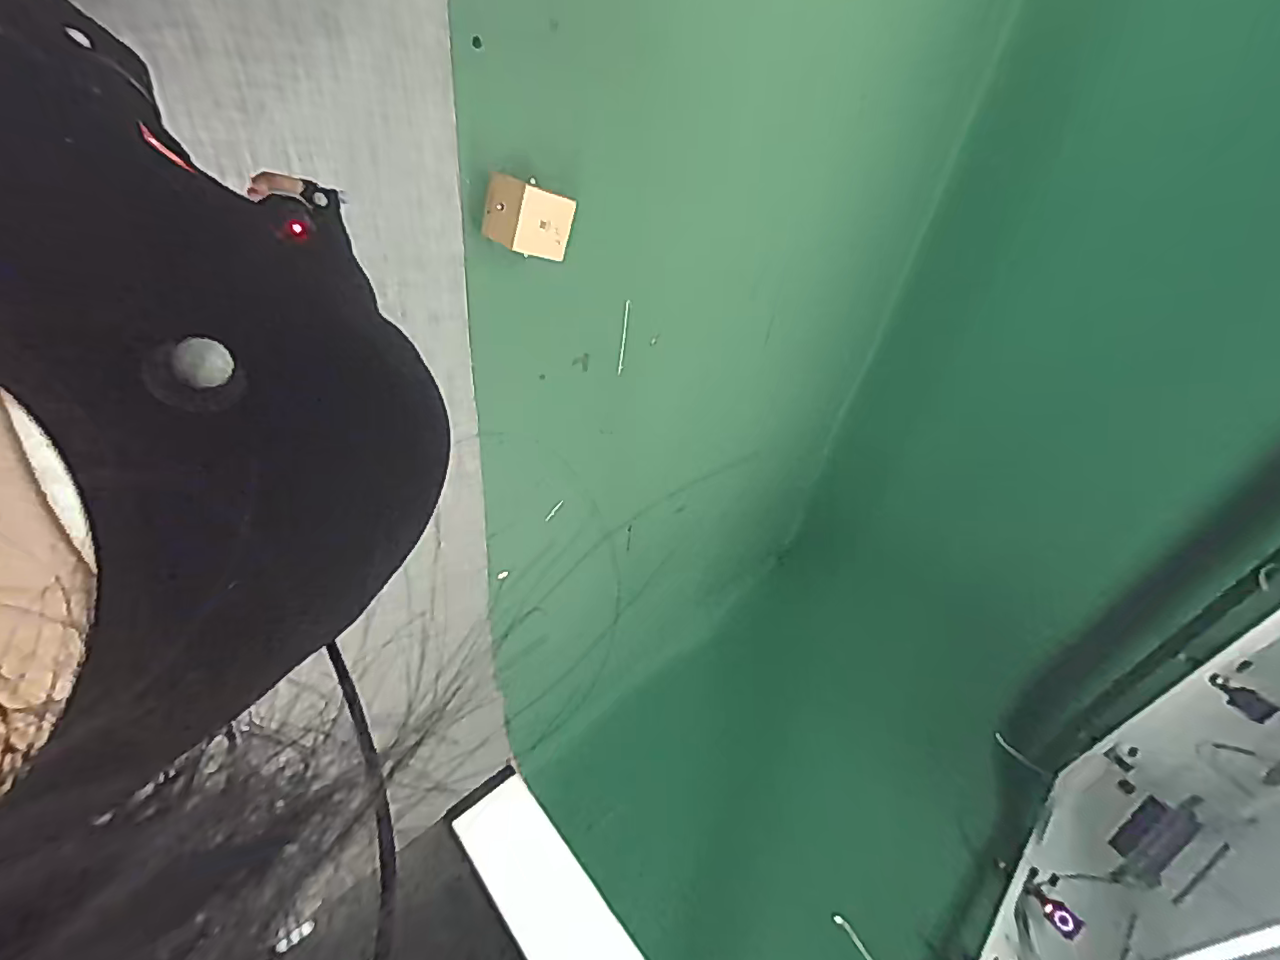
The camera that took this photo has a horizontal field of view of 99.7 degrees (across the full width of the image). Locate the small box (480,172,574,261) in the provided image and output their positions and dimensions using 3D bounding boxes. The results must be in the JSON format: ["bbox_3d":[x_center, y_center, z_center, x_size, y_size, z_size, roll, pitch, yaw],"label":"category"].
[{"bbox_3d":[-0.321,-0.736,1.510,0.179,0.176,0.168,-10,130,-48],"label":"small box"}]
